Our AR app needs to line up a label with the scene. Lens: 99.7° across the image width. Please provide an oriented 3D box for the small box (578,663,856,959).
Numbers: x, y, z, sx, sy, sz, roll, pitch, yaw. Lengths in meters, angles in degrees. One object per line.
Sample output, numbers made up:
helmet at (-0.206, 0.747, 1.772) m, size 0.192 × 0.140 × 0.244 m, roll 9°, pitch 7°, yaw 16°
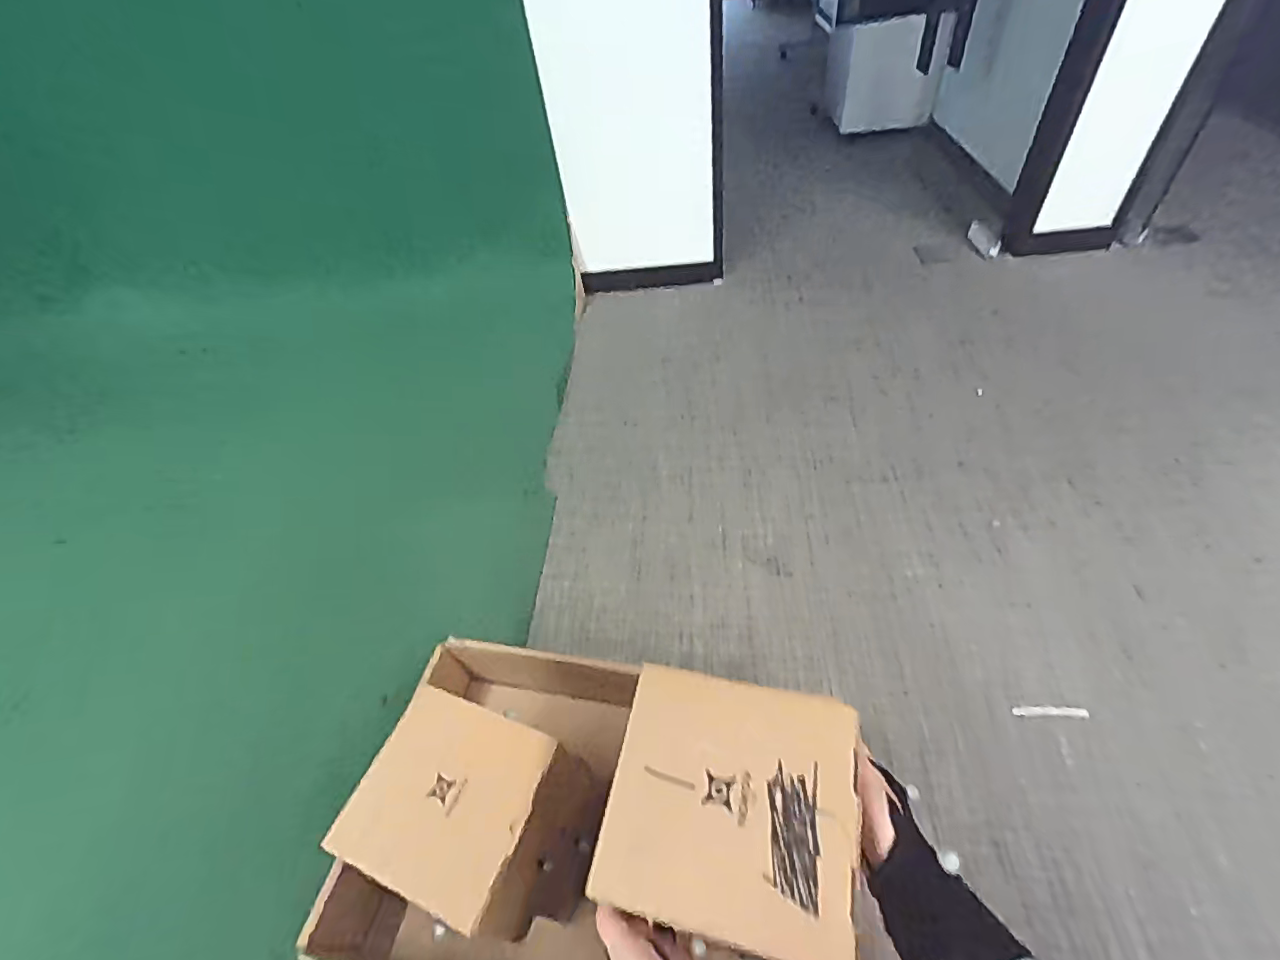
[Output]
small box at (0.072, 0.276, 0.452) m, size 0.179 × 0.176 × 0.168 m, roll 7°, pitch 54°, yaw 16°
